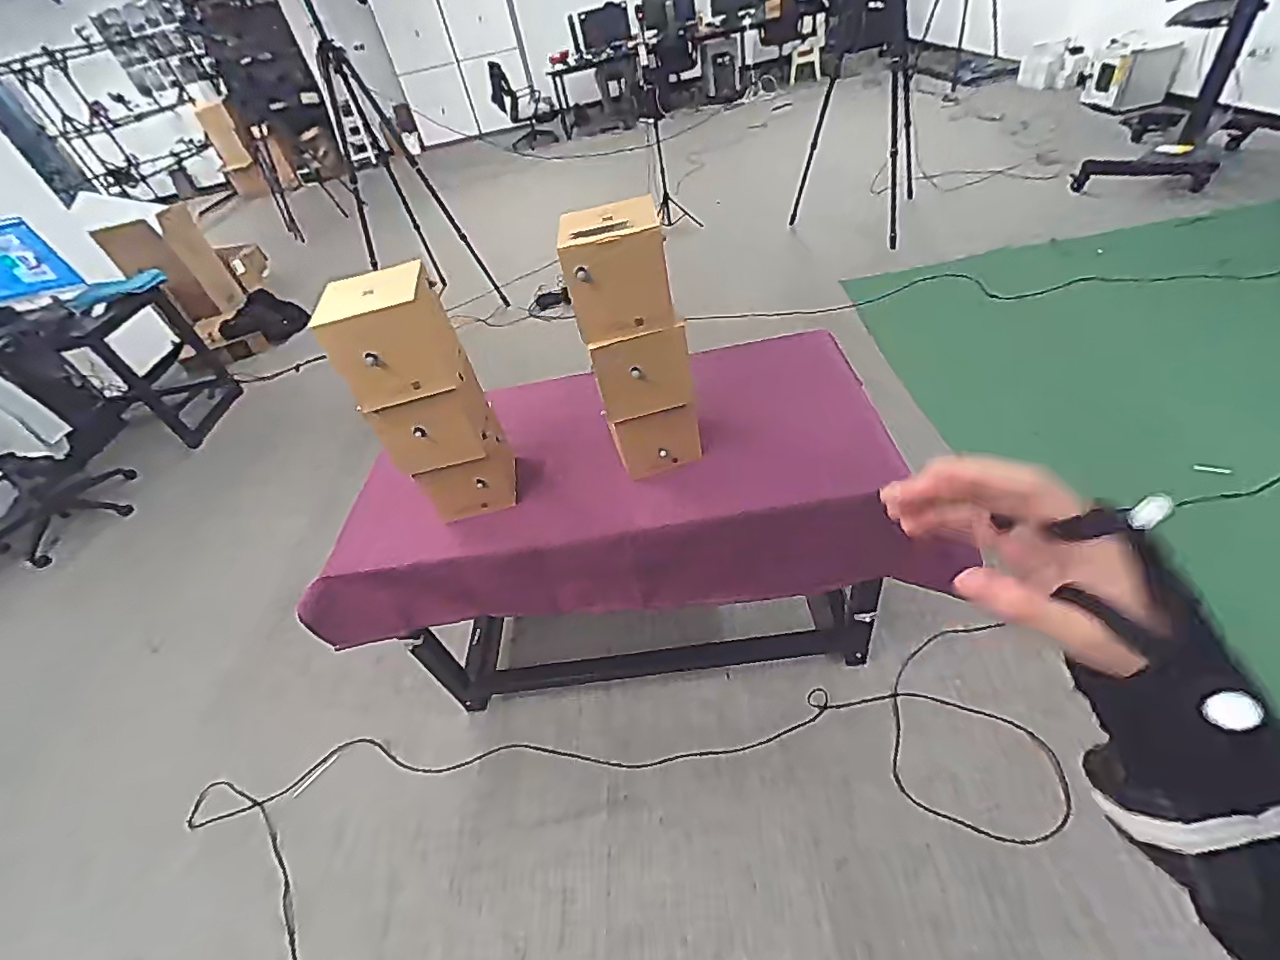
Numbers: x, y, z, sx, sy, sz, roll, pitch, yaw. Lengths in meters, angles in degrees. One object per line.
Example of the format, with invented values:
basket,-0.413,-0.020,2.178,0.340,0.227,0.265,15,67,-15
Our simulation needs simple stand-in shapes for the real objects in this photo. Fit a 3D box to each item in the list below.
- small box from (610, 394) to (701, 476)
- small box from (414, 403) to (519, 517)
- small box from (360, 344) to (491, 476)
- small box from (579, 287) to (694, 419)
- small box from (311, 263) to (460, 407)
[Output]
small box,0.022,-0.138,1.169,0.168,0.176,0.179,-19,43,-3
small box,-0.370,-0.036,1.182,0.168,0.176,0.179,-14,42,1
small box,-0.402,-0.135,1.052,0.179,0.176,0.168,-15,43,1
small box,-0.005,-0.241,1.043,0.179,0.176,0.168,-15,43,0
small box,-0.423,-0.244,0.933,0.168,0.176,0.179,-17,42,-2
